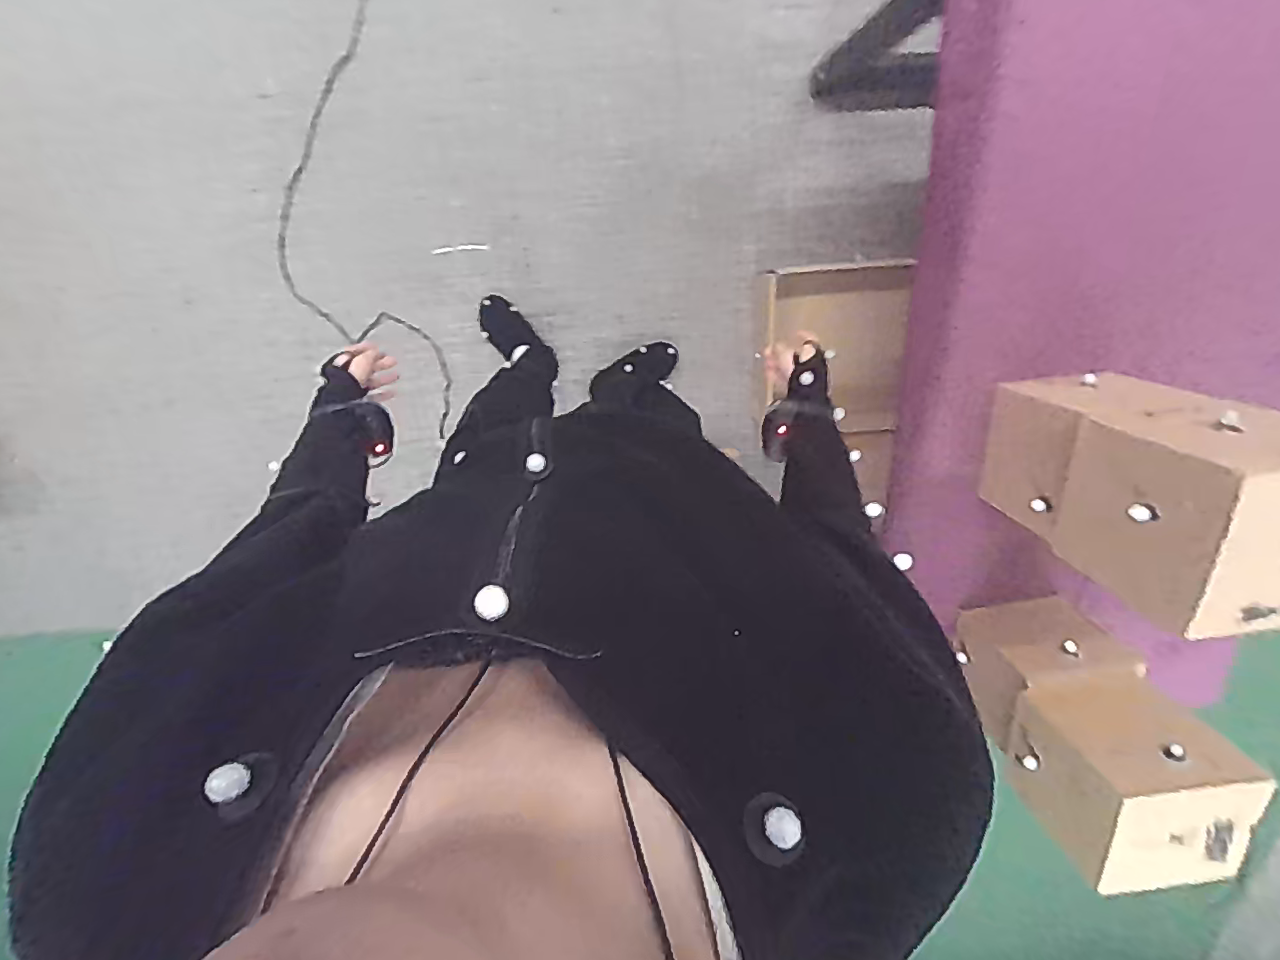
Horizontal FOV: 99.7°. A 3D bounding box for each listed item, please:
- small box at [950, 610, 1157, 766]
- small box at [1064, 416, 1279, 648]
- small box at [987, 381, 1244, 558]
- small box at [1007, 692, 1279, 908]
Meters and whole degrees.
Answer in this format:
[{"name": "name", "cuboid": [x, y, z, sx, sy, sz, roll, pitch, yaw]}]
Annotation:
[{"name": "small box", "cuboid": [0.622, 0.319, 0.838, 0.179, 0.176, 0.168, -7, 111, -1]}, {"name": "small box", "cuboid": [0.578, 0.039, 0.546, 0.168, 0.176, 0.179, -6, 112, 0]}, {"name": "small box", "cuboid": [0.588, -0.020, 0.700, 0.168, 0.176, 0.179, -6, 112, -2]}, {"name": "small box", "cuboid": [0.620, 0.395, 0.691, 0.179, 0.176, 0.168, -7, 110, -1]}]
